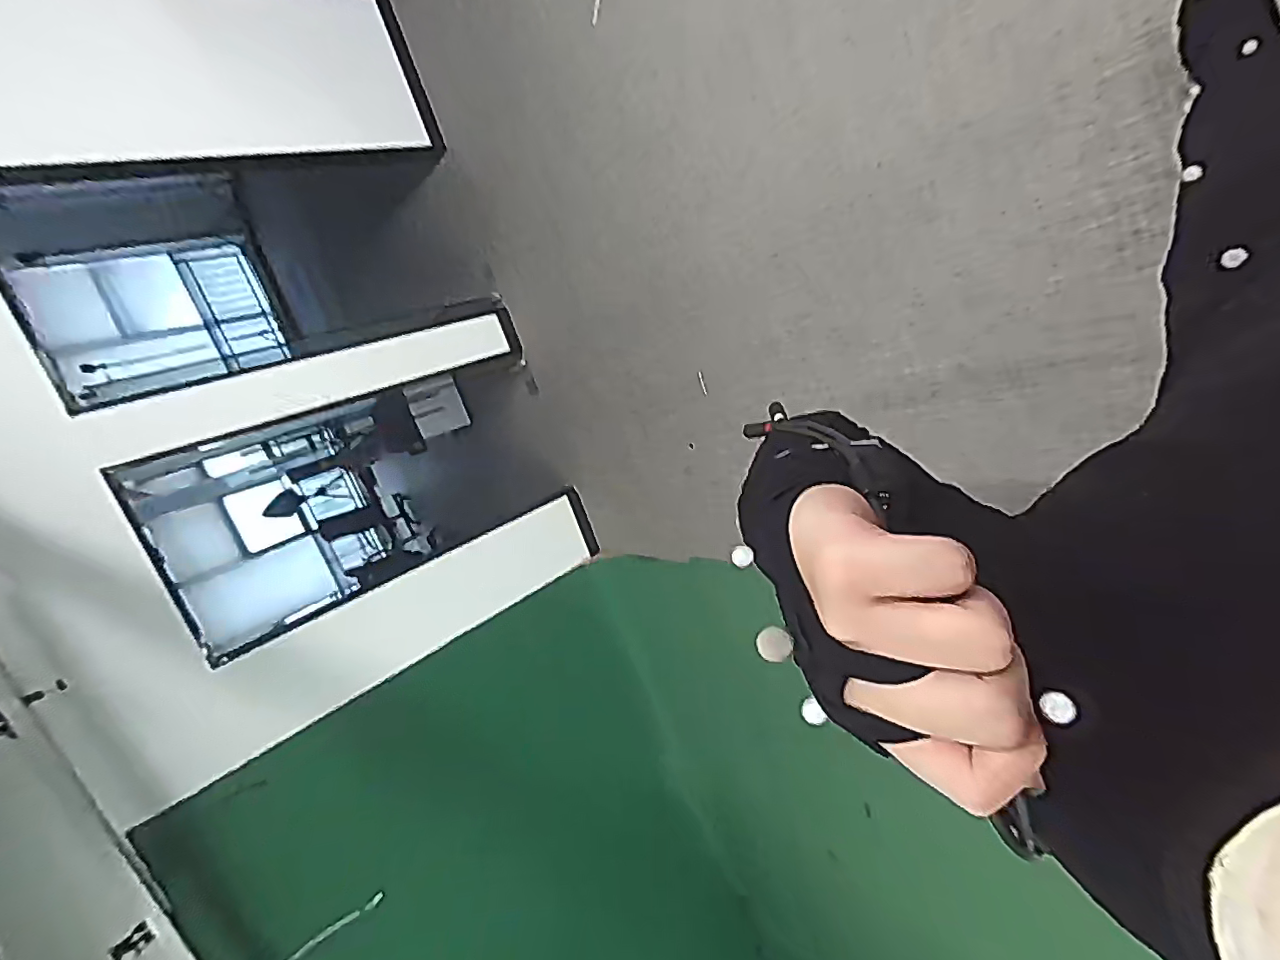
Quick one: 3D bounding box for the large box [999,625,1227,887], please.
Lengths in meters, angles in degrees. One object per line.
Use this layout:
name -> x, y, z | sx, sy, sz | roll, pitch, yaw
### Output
large box -> 1.118, 0.606, 1.276 | 0.320, 0.320, 0.408 | -8, 107, 54
